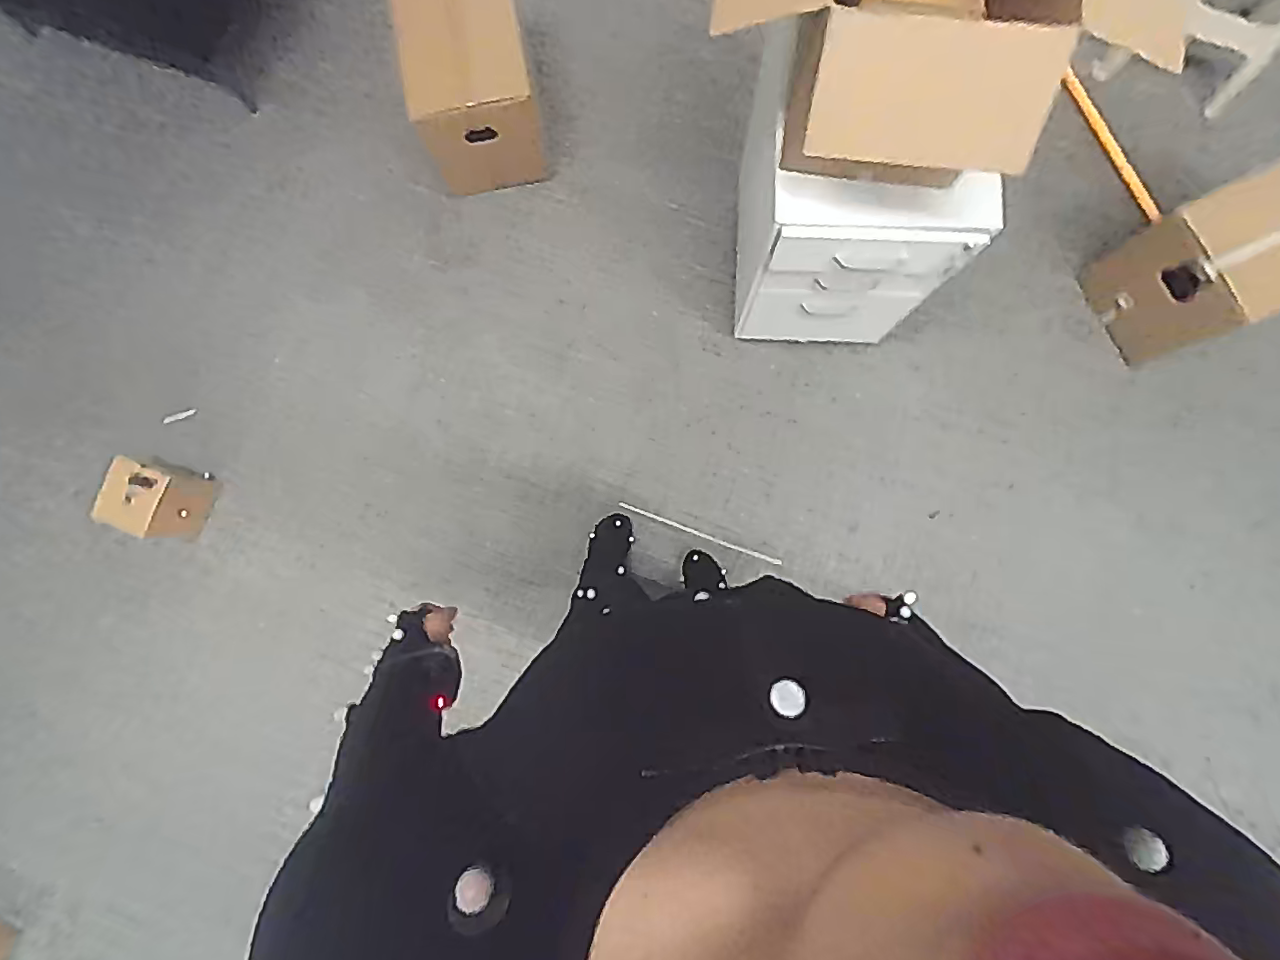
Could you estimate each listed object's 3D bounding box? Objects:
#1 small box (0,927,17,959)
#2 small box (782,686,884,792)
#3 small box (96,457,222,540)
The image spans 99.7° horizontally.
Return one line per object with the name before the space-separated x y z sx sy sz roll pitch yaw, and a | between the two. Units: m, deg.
small box | -1.759 1.237 1.351 0.179 0.176 0.168 26 85 5
small box | 0.468 0.628 1.341 0.179 0.176 0.168 18 84 5
small box | -1.312 0.056 1.492 0.168 0.176 0.179 22 84 5
